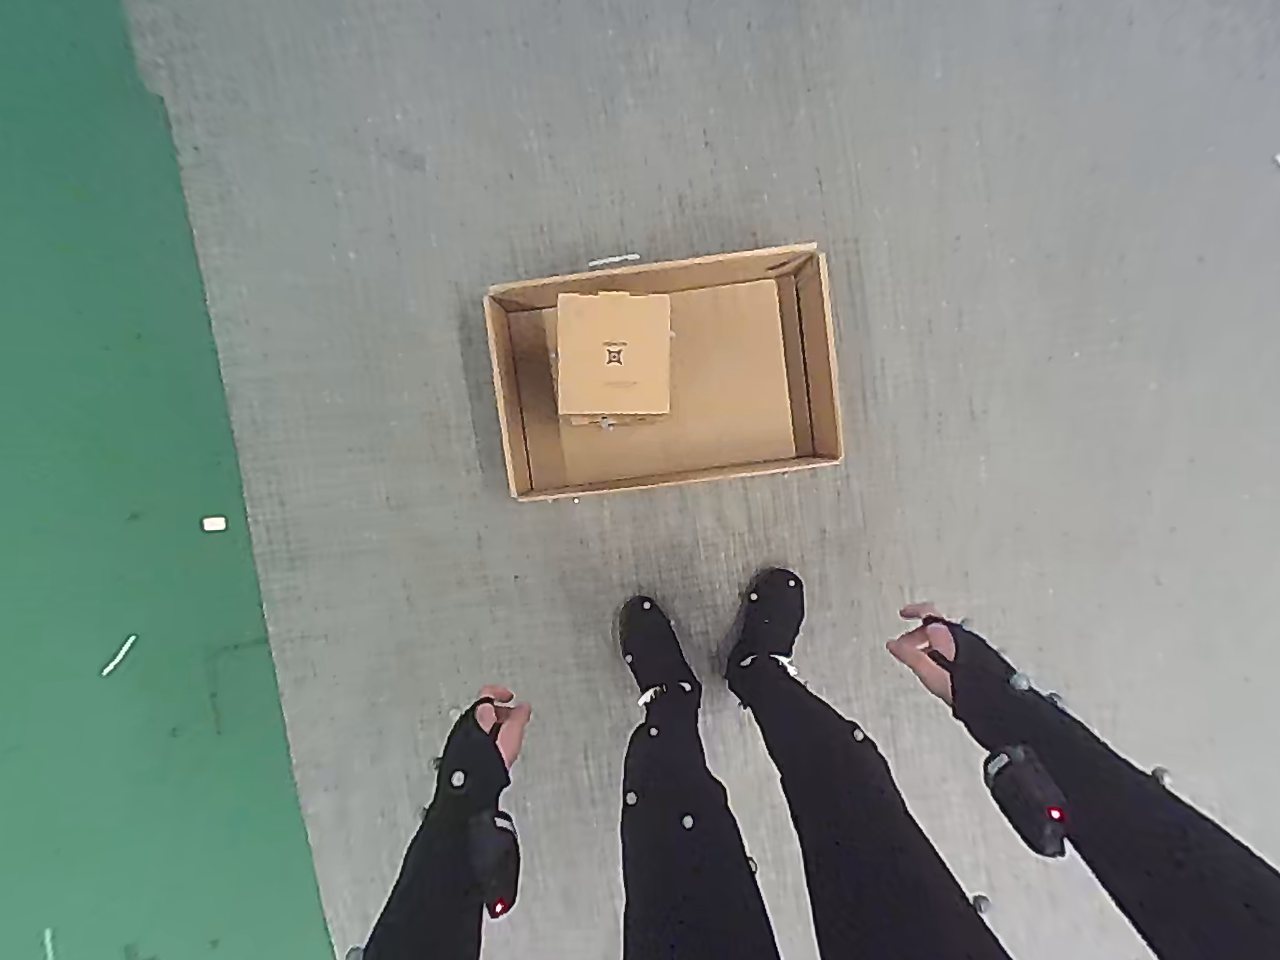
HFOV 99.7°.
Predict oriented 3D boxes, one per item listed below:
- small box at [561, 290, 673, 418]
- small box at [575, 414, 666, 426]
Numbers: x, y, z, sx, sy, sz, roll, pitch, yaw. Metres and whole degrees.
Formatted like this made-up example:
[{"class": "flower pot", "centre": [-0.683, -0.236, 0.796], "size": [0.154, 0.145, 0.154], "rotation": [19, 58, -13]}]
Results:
[{"class": "small box", "centre": [-0.038, -0.193, 0.867], "size": [0.168, 0.176, 0.179], "rotation": [0, 94, -2]}, {"class": "small box", "centre": [-0.043, -0.198, 1.030], "size": [0.168, 0.176, 0.179], "rotation": [-4, 94, -2]}]
